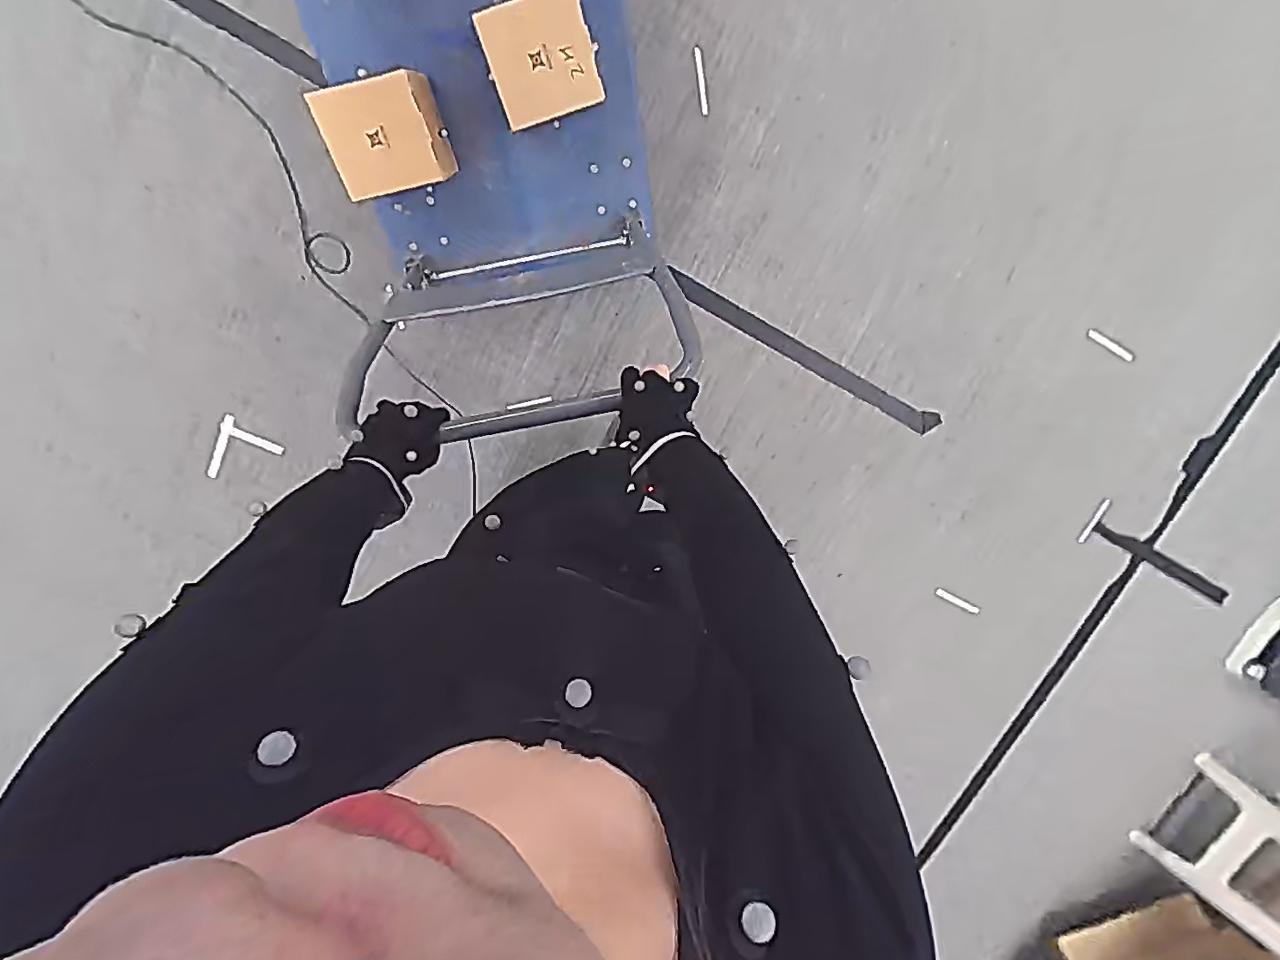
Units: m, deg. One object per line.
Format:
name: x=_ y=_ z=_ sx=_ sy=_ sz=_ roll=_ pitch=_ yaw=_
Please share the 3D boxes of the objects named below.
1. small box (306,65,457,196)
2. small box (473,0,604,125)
small box: x=-0.460 y=-0.639 z=0.997 sx=0.179 sy=0.176 sz=0.168 roll=-14 pitch=125 yaw=0
small box: x=-0.170 y=-0.749 z=0.959 sx=0.179 sy=0.176 sz=0.168 roll=-16 pitch=125 yaw=4
